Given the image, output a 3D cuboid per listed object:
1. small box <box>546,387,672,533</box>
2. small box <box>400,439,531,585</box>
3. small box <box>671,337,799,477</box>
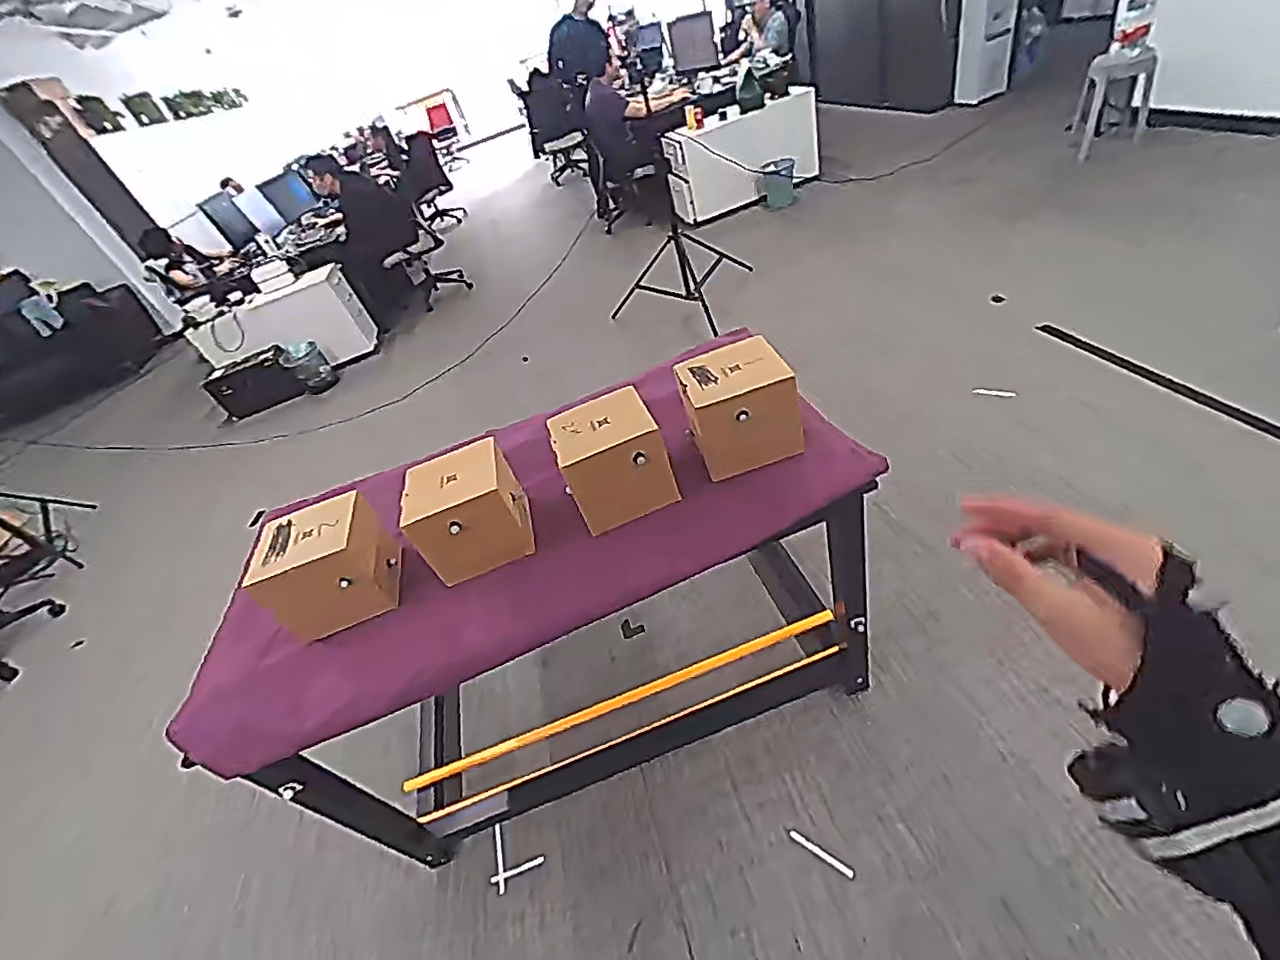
[{"bbox_3d":[-0.051,-0.035,0.984,0.179,0.176,0.168,-23,38,-2],"label":"small box"},{"bbox_3d":[-0.312,0.060,0.998,0.179,0.176,0.168,-23,40,-1],"label":"small box"},{"bbox_3d":[0.175,-0.131,0.991,0.179,0.176,0.168,-19,39,2],"label":"small box"}]
